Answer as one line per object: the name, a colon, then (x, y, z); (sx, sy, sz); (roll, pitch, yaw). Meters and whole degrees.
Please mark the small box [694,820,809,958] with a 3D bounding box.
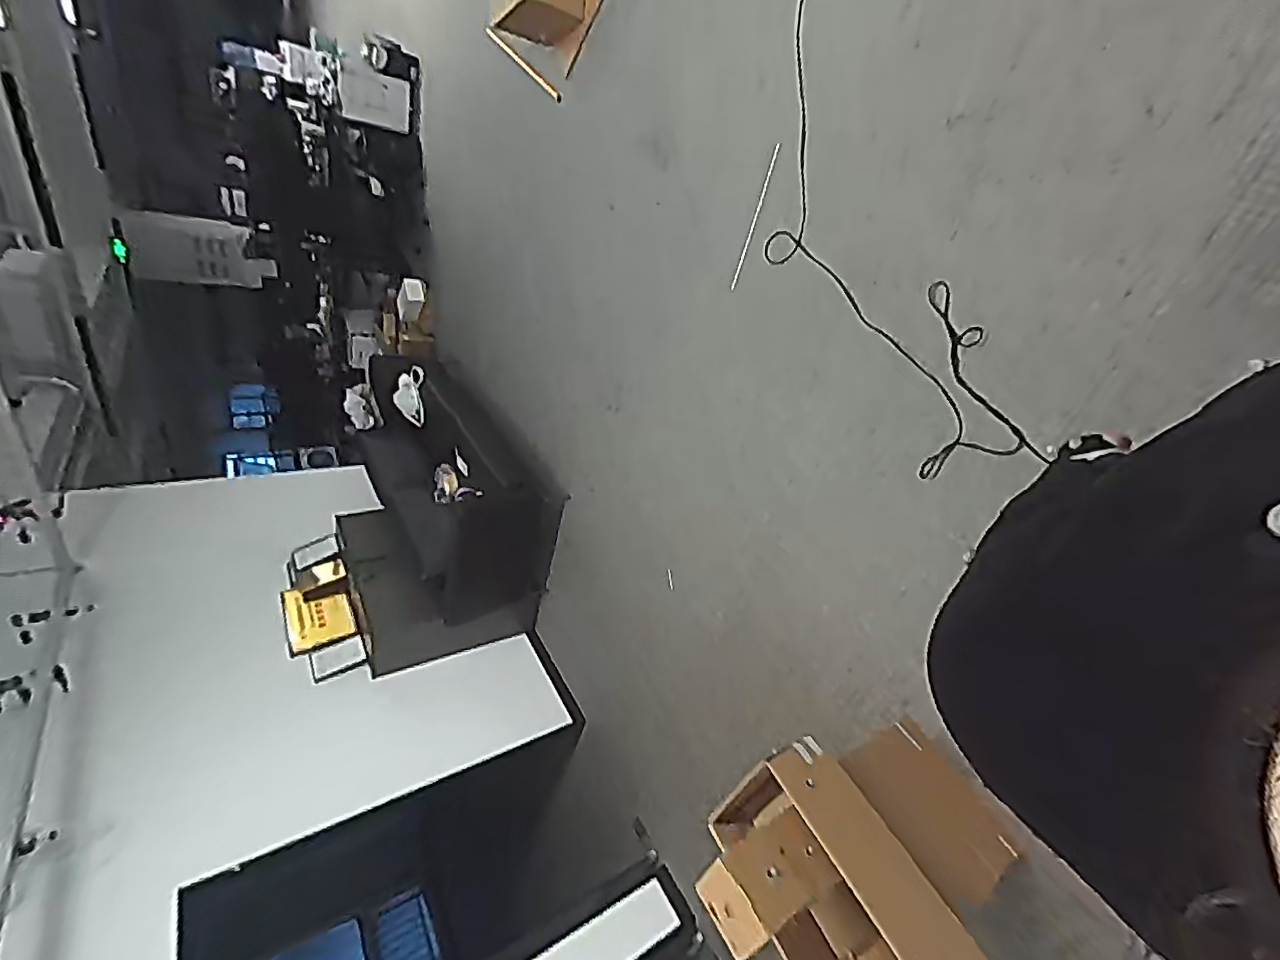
small box: (0.259, 0.930, 1.243); (0.168, 0.176, 0.179); (48, 132, 37)
